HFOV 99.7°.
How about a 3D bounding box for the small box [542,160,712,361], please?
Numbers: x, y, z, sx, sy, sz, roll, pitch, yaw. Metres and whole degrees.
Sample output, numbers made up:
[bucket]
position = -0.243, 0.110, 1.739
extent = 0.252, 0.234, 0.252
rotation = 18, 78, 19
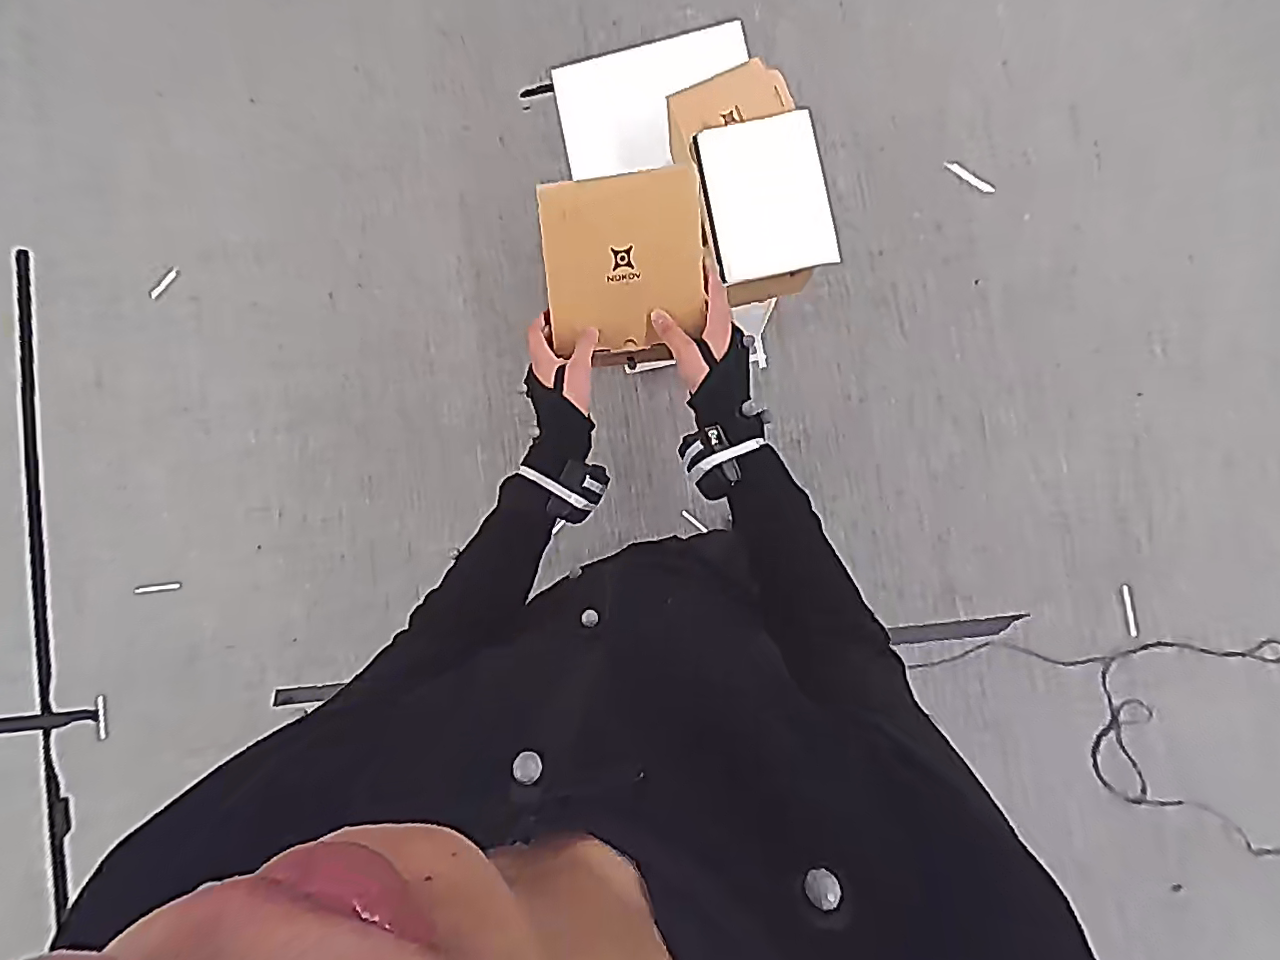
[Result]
[small box]
position = -0.006, -0.240, 0.635
extent = 0.168, 0.176, 0.179
rotation = -5, 99, 7
